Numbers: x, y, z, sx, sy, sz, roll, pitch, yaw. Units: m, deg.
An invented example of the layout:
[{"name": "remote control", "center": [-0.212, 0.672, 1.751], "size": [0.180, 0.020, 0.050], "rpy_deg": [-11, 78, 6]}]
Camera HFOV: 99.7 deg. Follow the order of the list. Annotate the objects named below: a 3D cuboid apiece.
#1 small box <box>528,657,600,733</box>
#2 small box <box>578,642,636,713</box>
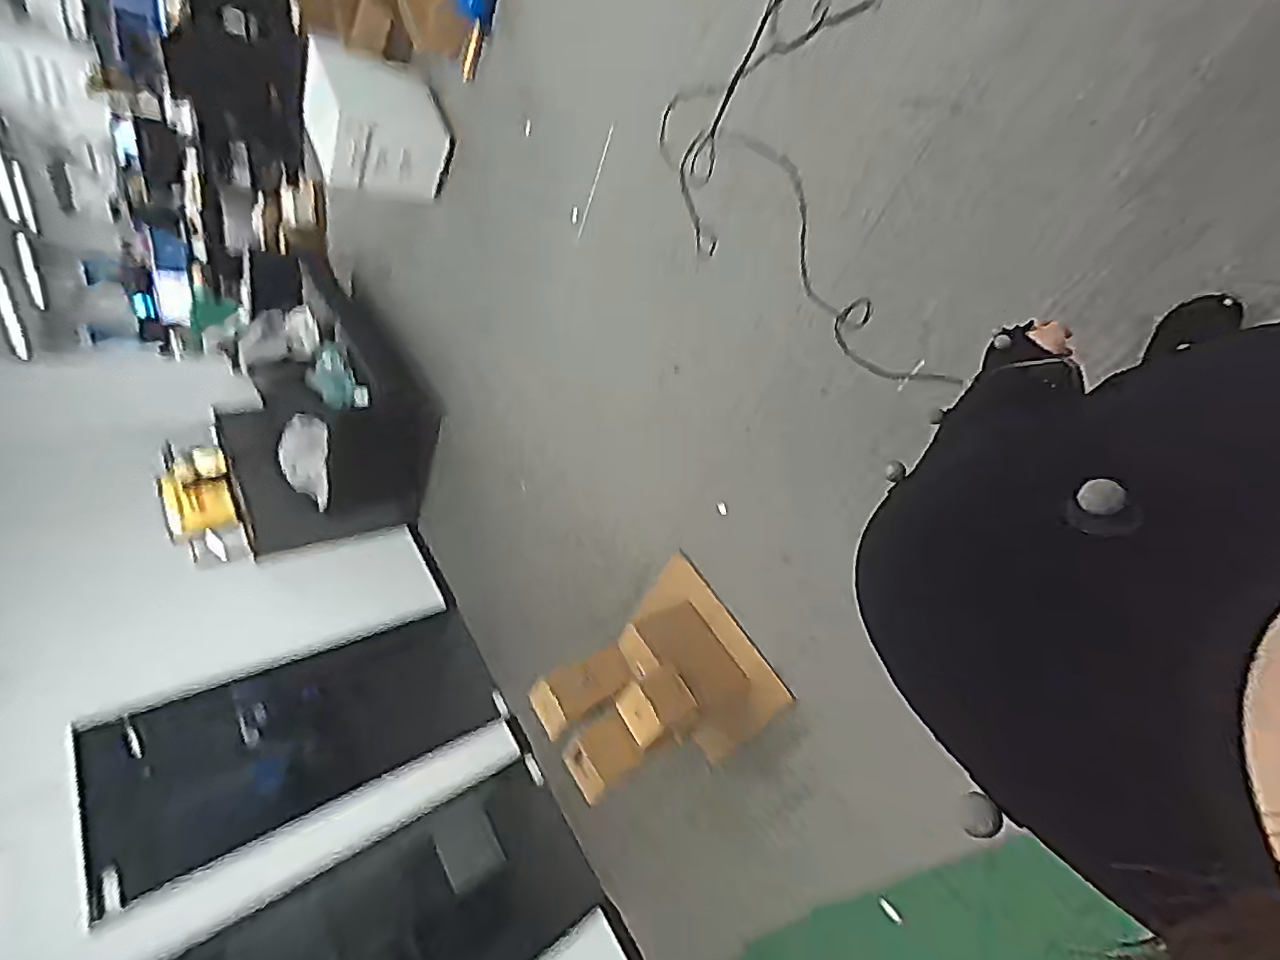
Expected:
[{"name": "small box", "center": [-0.270, 0.765, 1.931], "size": [0.168, 0.176, 0.179], "rpy_deg": [53, 133, 22]}, {"name": "small box", "center": [-0.148, 0.735, 2.042], "size": [0.179, 0.176, 0.168], "rpy_deg": [52, 132, 22]}]
